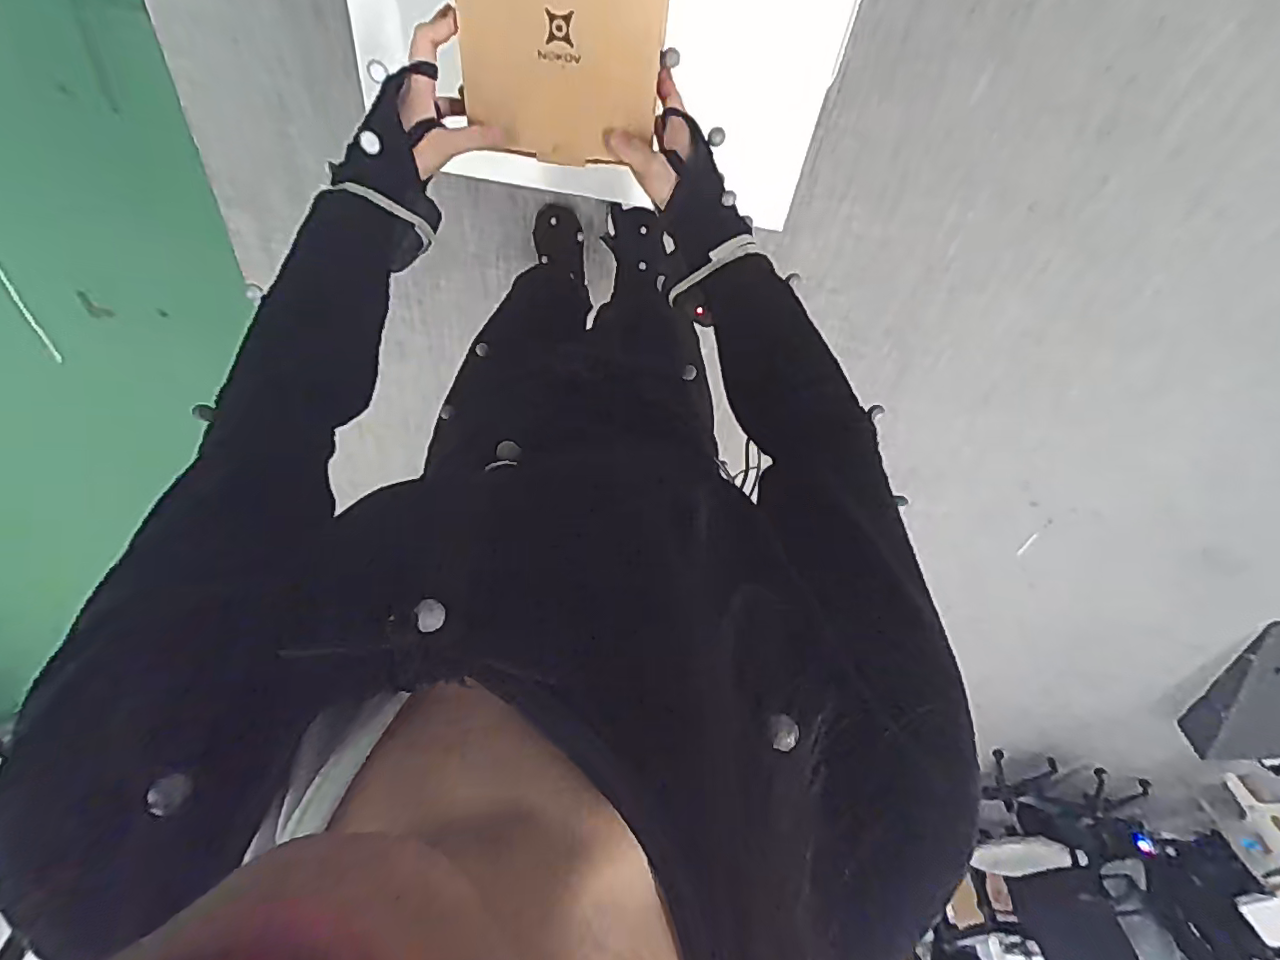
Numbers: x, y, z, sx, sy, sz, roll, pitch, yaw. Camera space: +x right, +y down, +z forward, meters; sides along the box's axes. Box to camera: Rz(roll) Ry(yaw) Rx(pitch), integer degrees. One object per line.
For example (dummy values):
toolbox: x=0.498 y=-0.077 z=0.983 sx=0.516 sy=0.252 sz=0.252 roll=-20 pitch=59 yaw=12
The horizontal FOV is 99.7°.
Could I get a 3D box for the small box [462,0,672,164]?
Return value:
small box: x=-0.056 y=-0.411 z=0.491 sx=0.168 sy=0.176 sz=0.179 roll=5 pitch=132 yaw=-1
